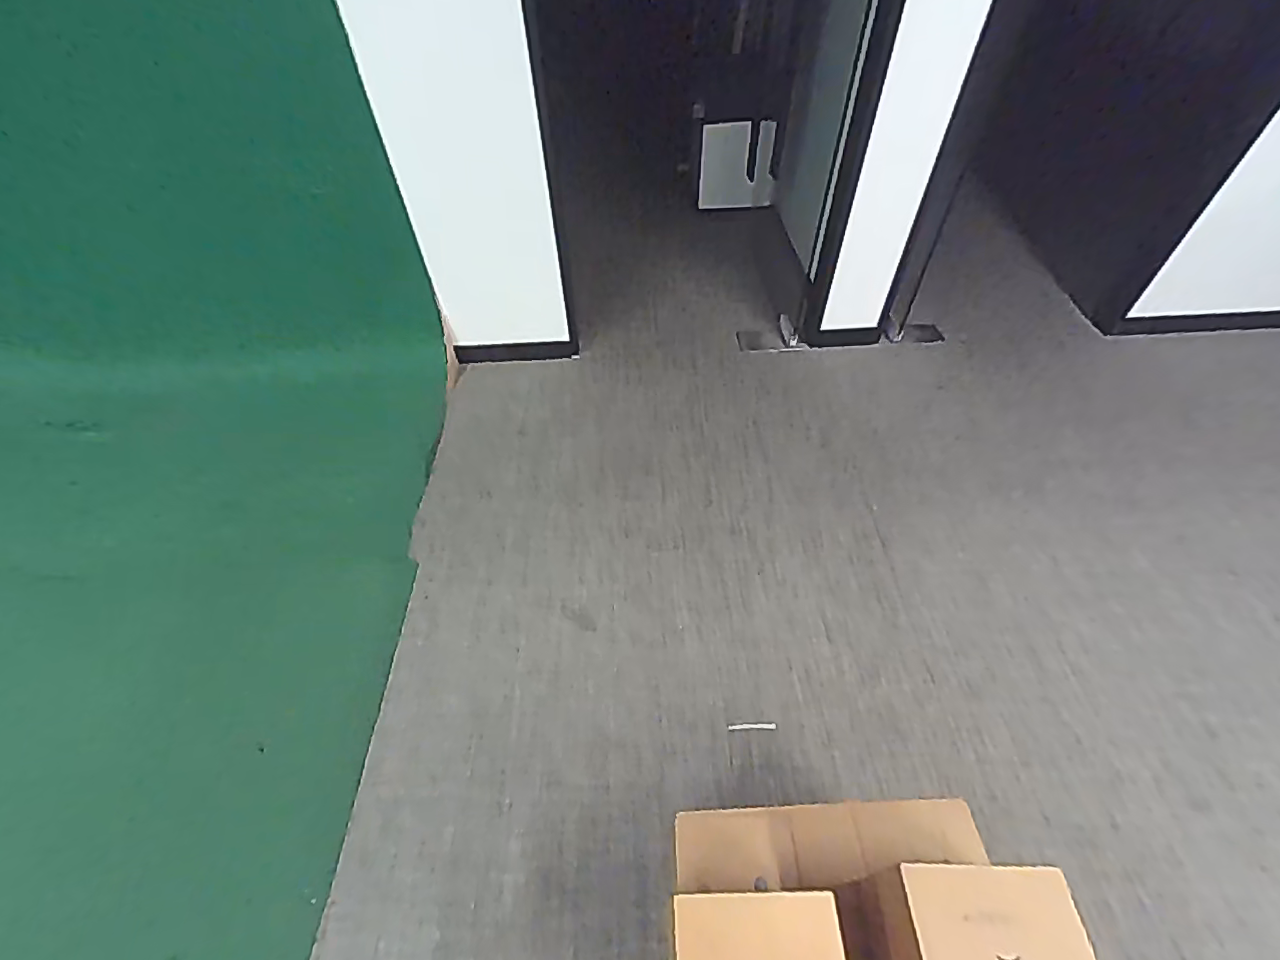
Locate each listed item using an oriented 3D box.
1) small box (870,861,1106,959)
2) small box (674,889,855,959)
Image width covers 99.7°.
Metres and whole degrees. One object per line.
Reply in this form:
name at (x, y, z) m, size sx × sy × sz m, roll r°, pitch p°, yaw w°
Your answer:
small box at (0.361, 0.516, 0.563) m, size 0.168 × 0.176 × 0.179 m, roll -1°, pitch 48°, yaw 3°
small box at (0.124, 0.538, 0.556) m, size 0.168 × 0.176 × 0.179 m, roll -1°, pitch 51°, yaw -1°
